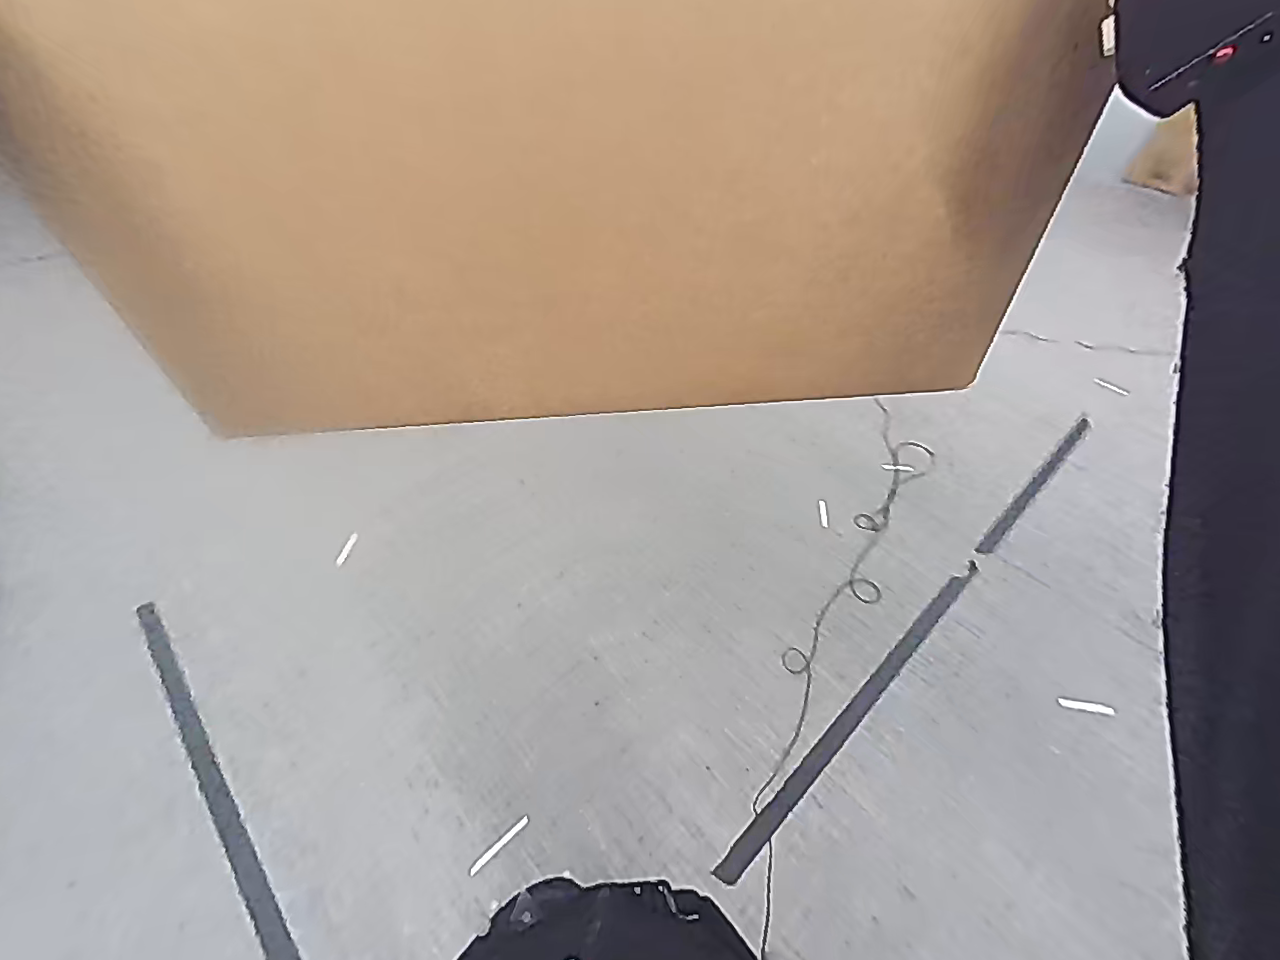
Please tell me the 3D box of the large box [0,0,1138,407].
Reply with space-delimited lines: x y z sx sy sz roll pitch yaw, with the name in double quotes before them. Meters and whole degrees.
"large box" -0.029 -0.258 0.292 0.408 0.320 0.320 -3 46 -1
